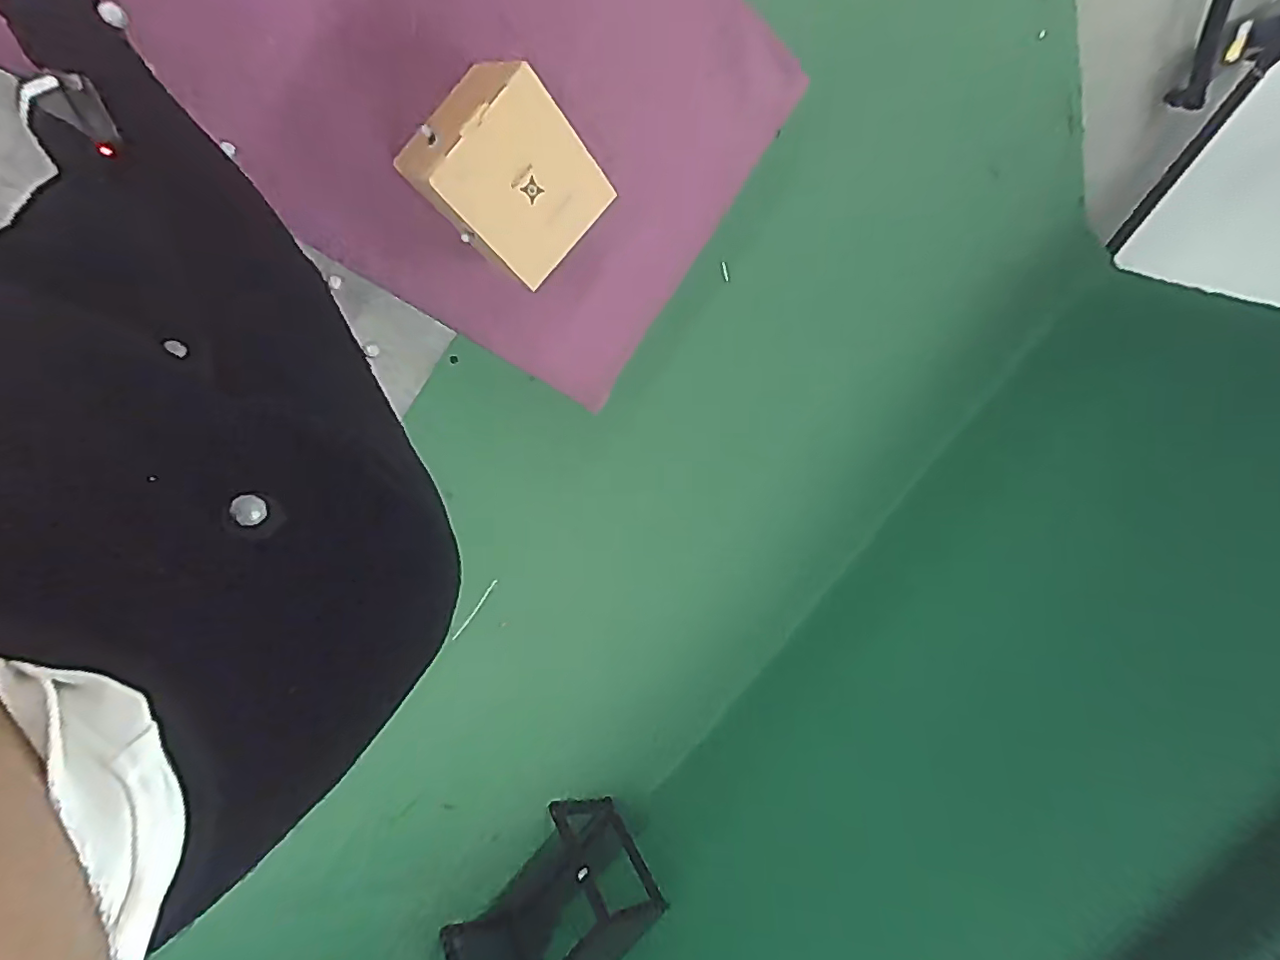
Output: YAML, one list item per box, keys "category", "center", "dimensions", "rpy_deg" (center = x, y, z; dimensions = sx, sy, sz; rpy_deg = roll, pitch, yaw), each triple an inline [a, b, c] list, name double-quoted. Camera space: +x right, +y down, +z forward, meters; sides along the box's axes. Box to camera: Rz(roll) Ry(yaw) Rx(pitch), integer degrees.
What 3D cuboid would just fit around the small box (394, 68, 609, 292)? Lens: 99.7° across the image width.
- category: "small box"
  center: [-0.180, -0.377, 0.689]
  dimensions: [0.168, 0.176, 0.179]
  rpy_deg: [-47, 138, 1]
